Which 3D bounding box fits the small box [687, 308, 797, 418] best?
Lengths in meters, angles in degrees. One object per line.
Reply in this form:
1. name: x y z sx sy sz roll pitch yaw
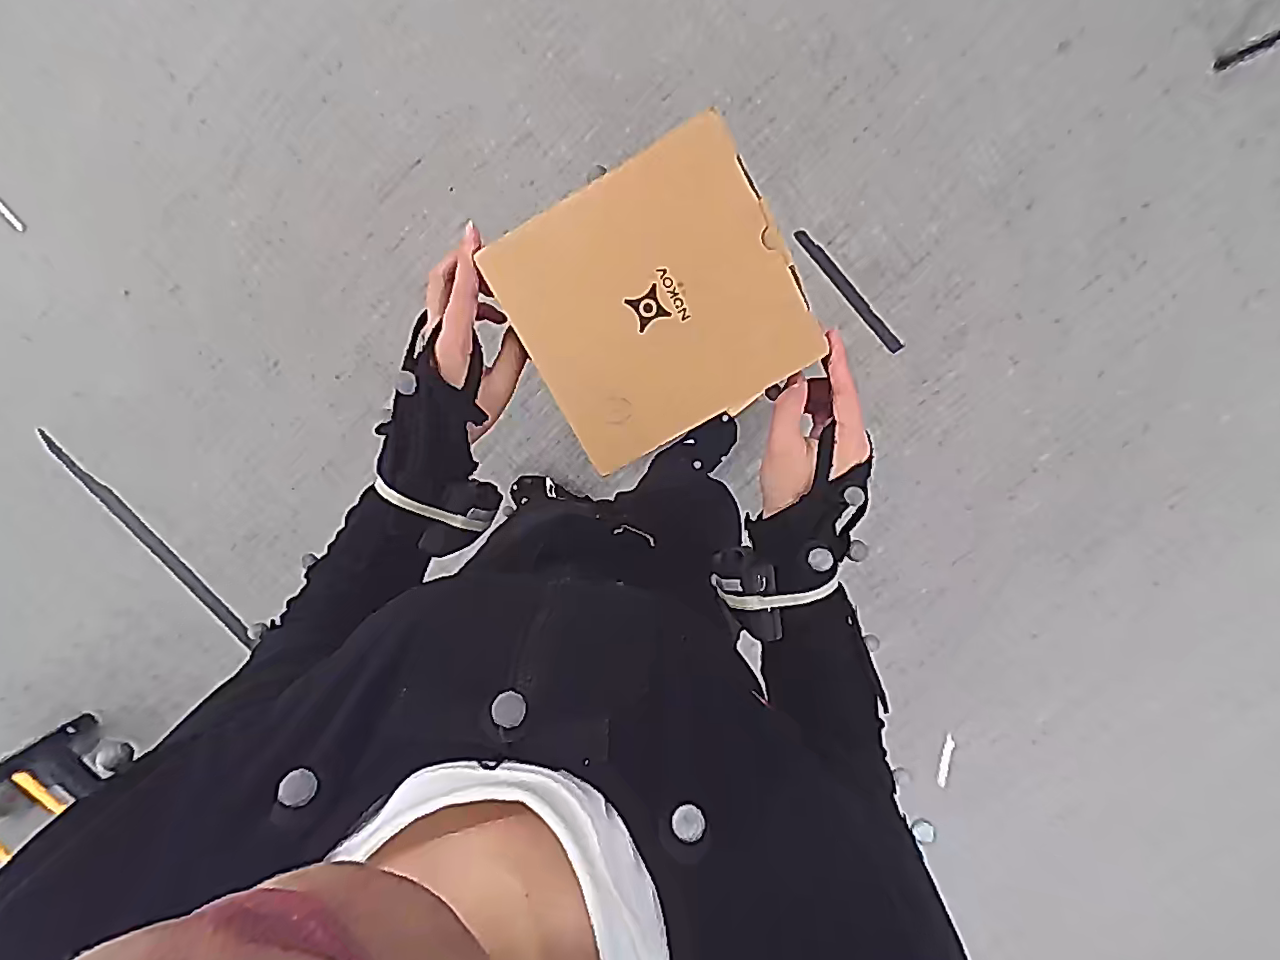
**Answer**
1. small box: 0.223 -0.259 1.221 0.179 0.176 0.168 -38 96 10
